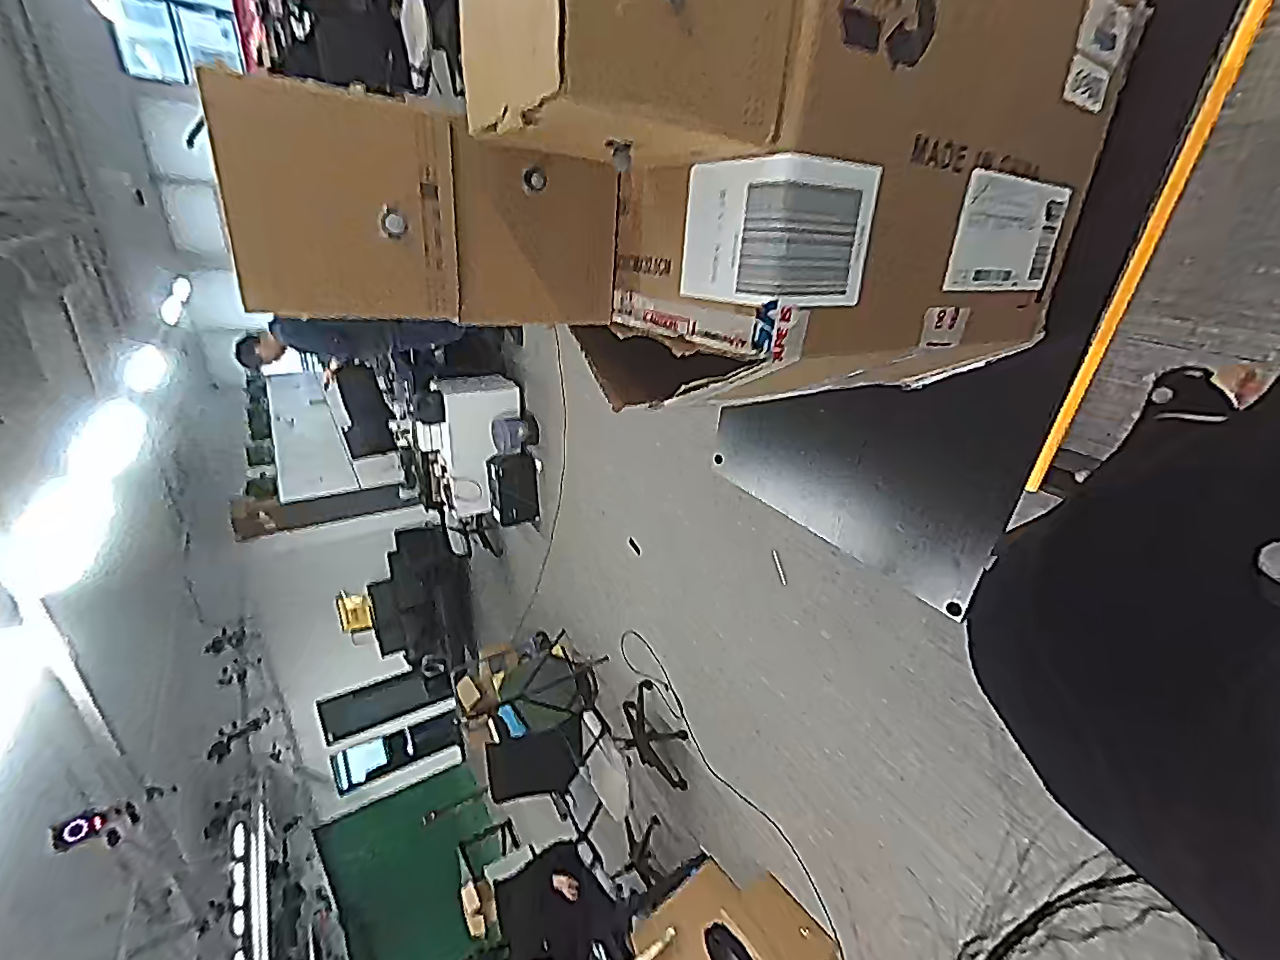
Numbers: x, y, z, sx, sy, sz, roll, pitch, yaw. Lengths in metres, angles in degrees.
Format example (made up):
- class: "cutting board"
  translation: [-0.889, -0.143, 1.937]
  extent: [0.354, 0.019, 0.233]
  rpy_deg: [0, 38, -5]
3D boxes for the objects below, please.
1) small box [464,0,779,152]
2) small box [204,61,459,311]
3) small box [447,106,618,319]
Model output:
- class: "small box"
  translation: [-0.013, -0.336, 0.371]
  extent: [0.168, 0.176, 0.179]
  rpy_deg: [32, 127, 48]
- class: "small box"
  translation: [-0.272, -0.252, 0.502]
  extent: [0.179, 0.176, 0.168]
  rpy_deg: [36, 129, 51]
- class: "small box"
  translation: [-0.133, -0.276, 0.588]
  extent: [0.168, 0.176, 0.179]
  rpy_deg: [37, 130, 52]
